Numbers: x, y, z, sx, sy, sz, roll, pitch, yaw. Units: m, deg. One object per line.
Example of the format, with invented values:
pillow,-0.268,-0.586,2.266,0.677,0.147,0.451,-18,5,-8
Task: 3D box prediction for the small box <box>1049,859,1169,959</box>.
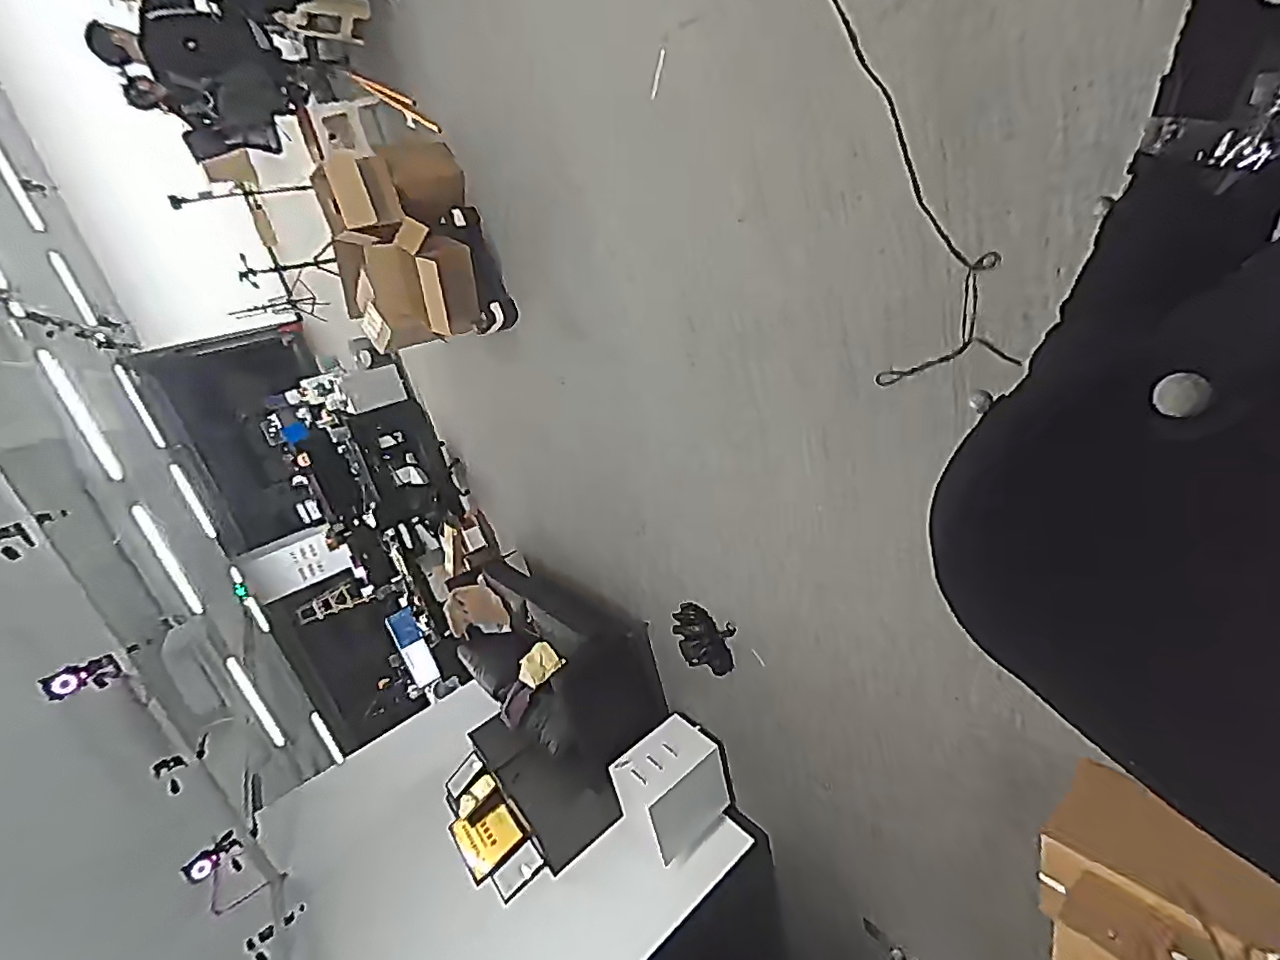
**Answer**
small box,1.089,1.042,1.257,0.179,0.176,0.168,15,123,54
